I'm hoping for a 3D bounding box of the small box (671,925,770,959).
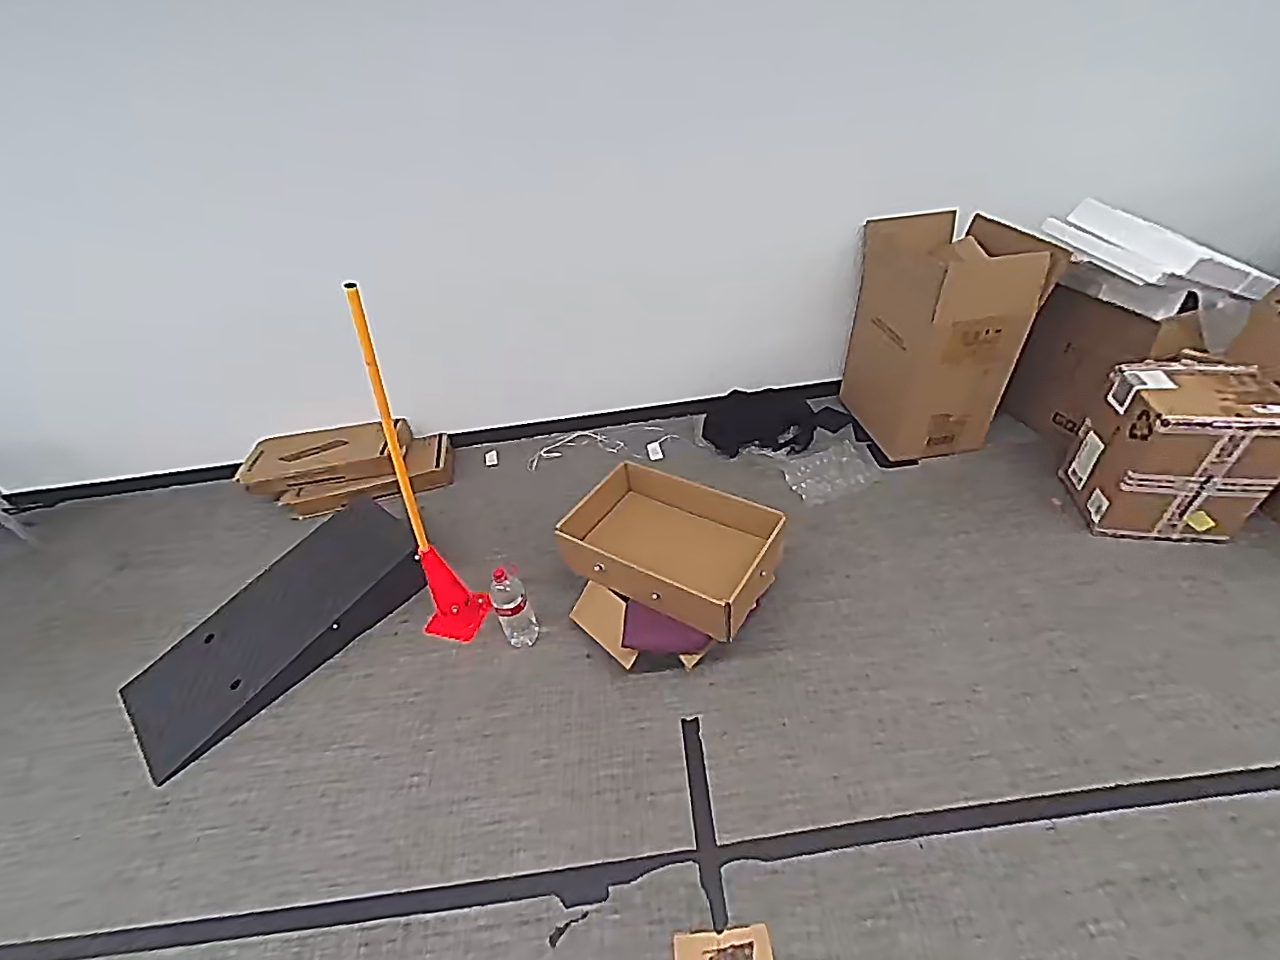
[{"bbox_3d":[0.144,0.894,0.921,0.168,0.176,0.179,-7,41,1],"label":"small box"}]
